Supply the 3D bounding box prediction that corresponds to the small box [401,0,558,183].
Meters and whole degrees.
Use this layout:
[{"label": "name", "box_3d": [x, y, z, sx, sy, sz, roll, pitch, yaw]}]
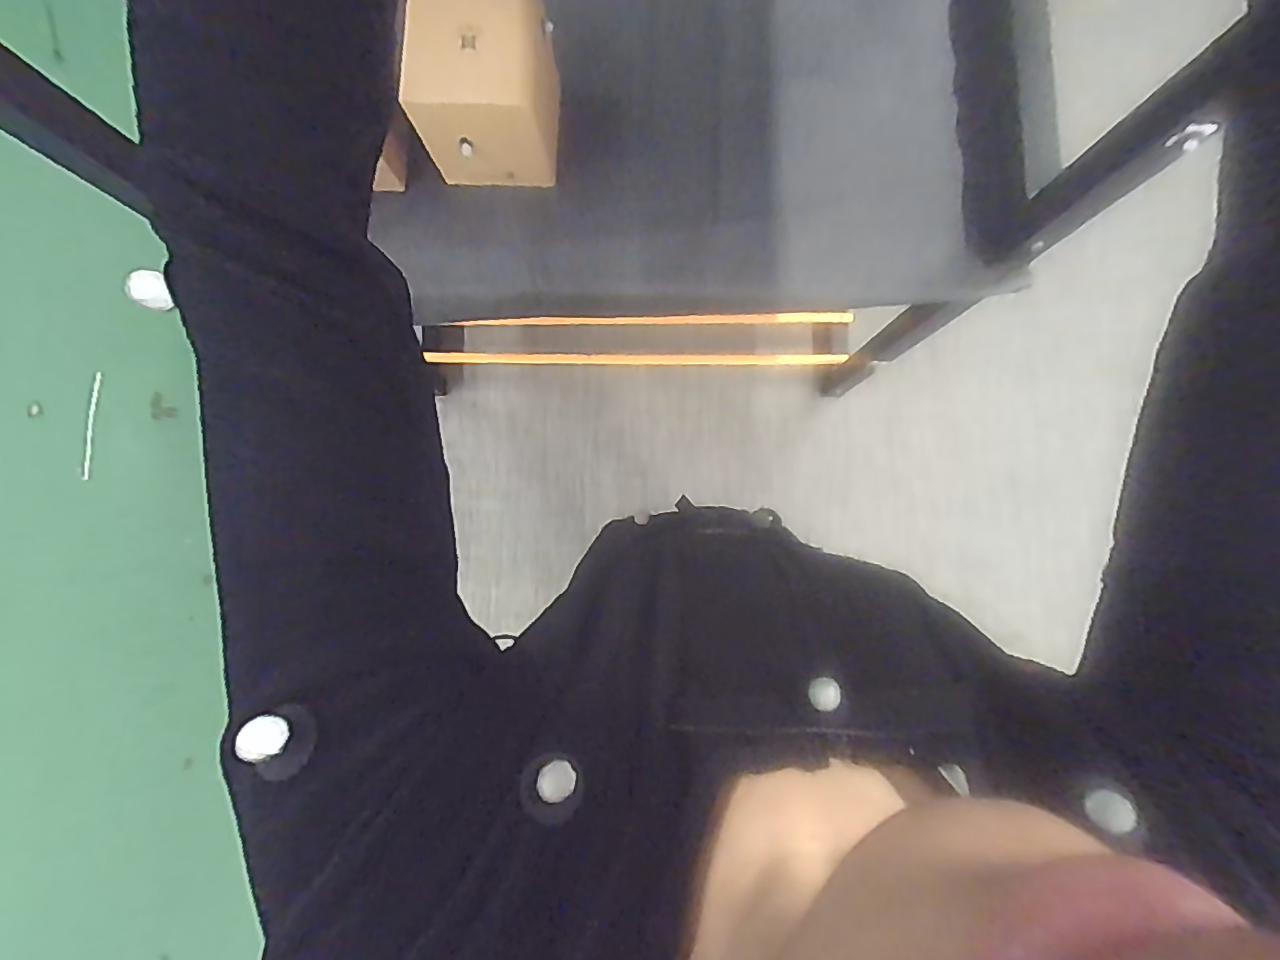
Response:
[{"label": "small box", "box_3d": [-0.211, -0.544, 0.755, 0.168, 0.176, 0.179, 2, 84, 1]}]
